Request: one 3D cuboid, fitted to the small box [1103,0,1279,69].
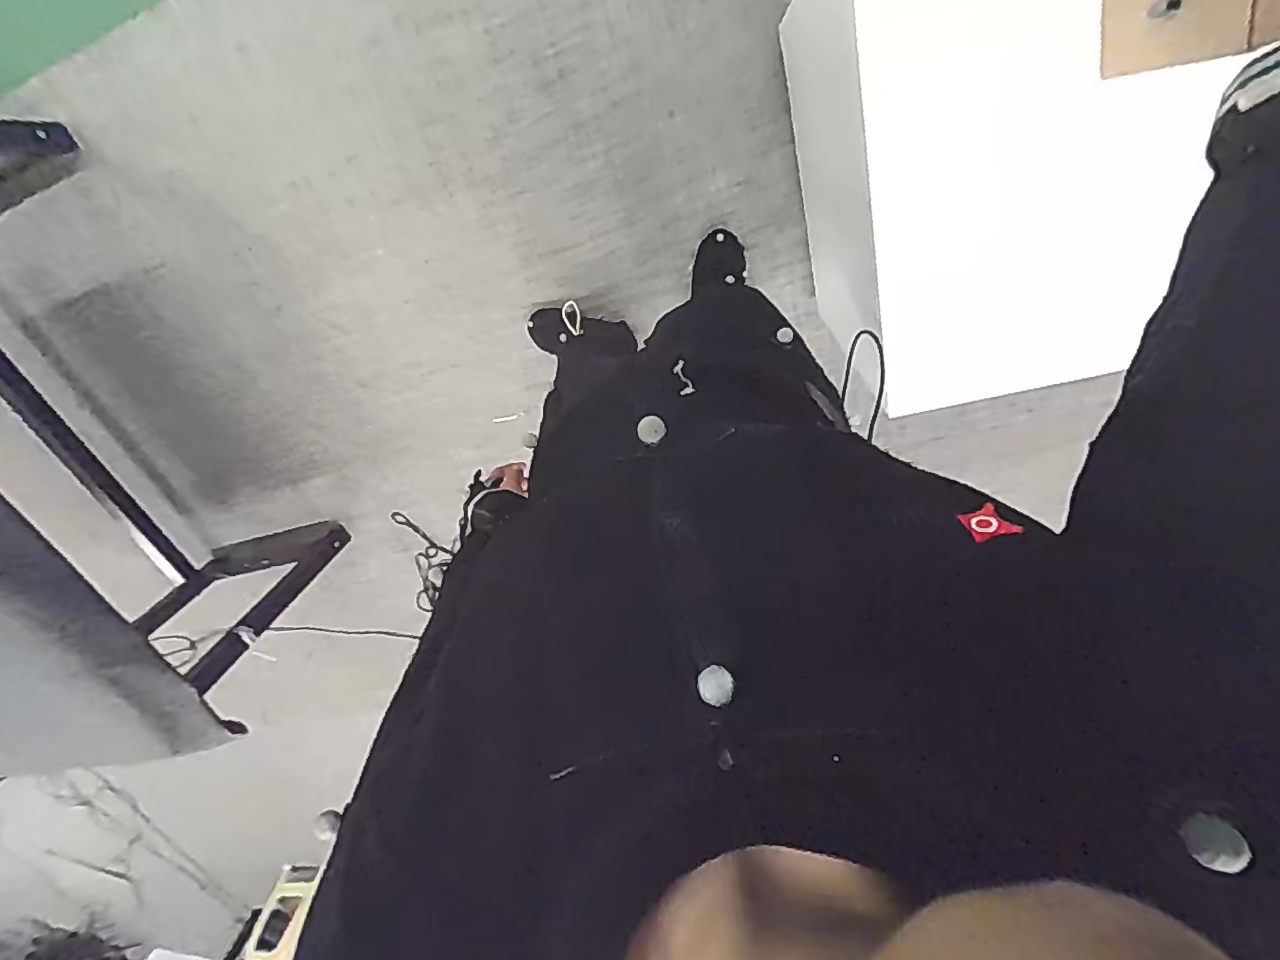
[{"bbox_3d":[0.465,-0.419,0.374,0.168,0.176,0.179,-16,117,16],"label":"small box"}]
